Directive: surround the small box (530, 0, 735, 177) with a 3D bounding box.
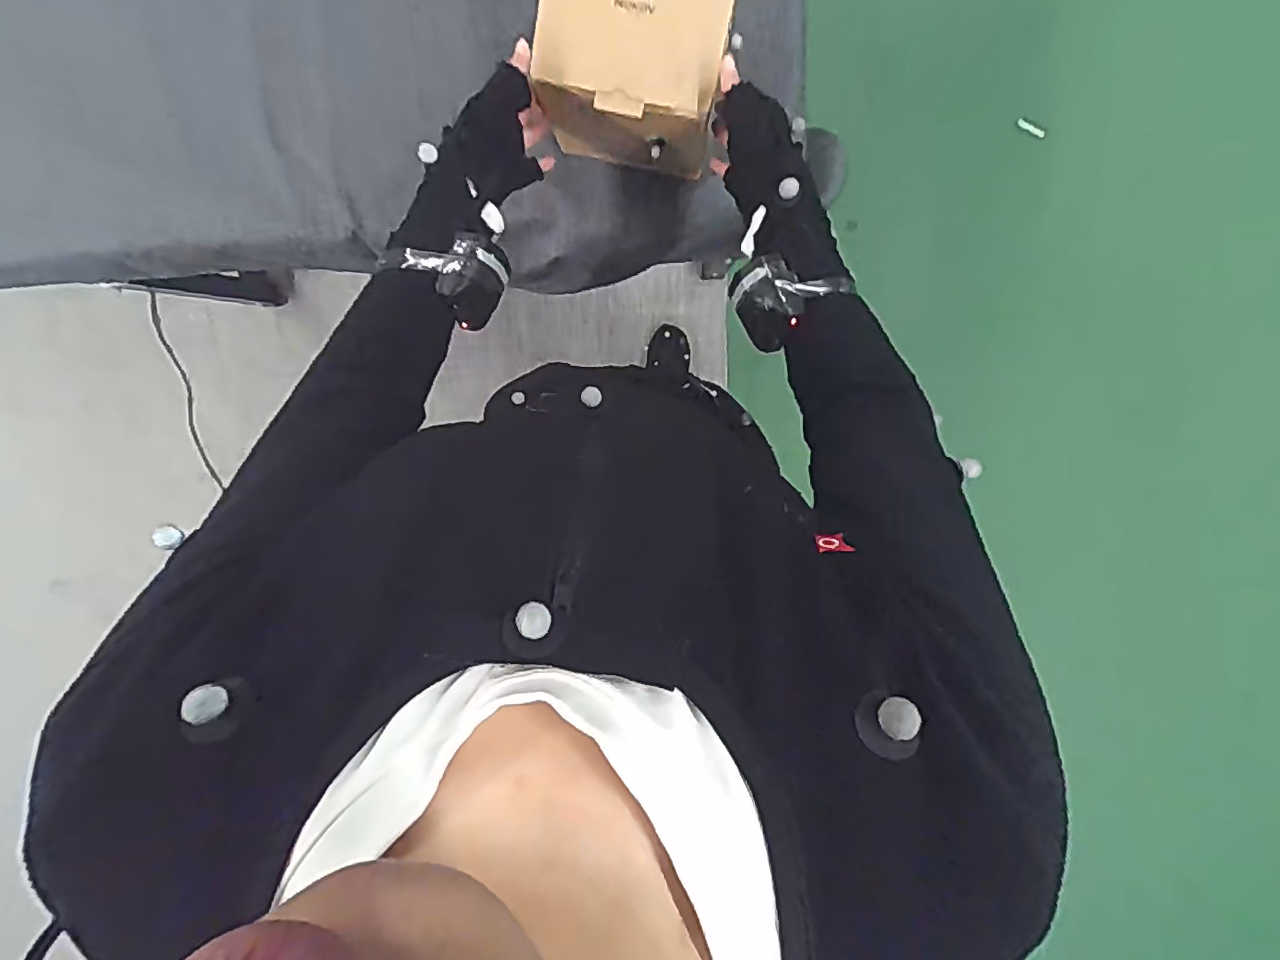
[{"bbox_3d":[0.000,-0.433,0.541,0.168,0.176,0.179,11,101,-1],"label":"small box"}]
